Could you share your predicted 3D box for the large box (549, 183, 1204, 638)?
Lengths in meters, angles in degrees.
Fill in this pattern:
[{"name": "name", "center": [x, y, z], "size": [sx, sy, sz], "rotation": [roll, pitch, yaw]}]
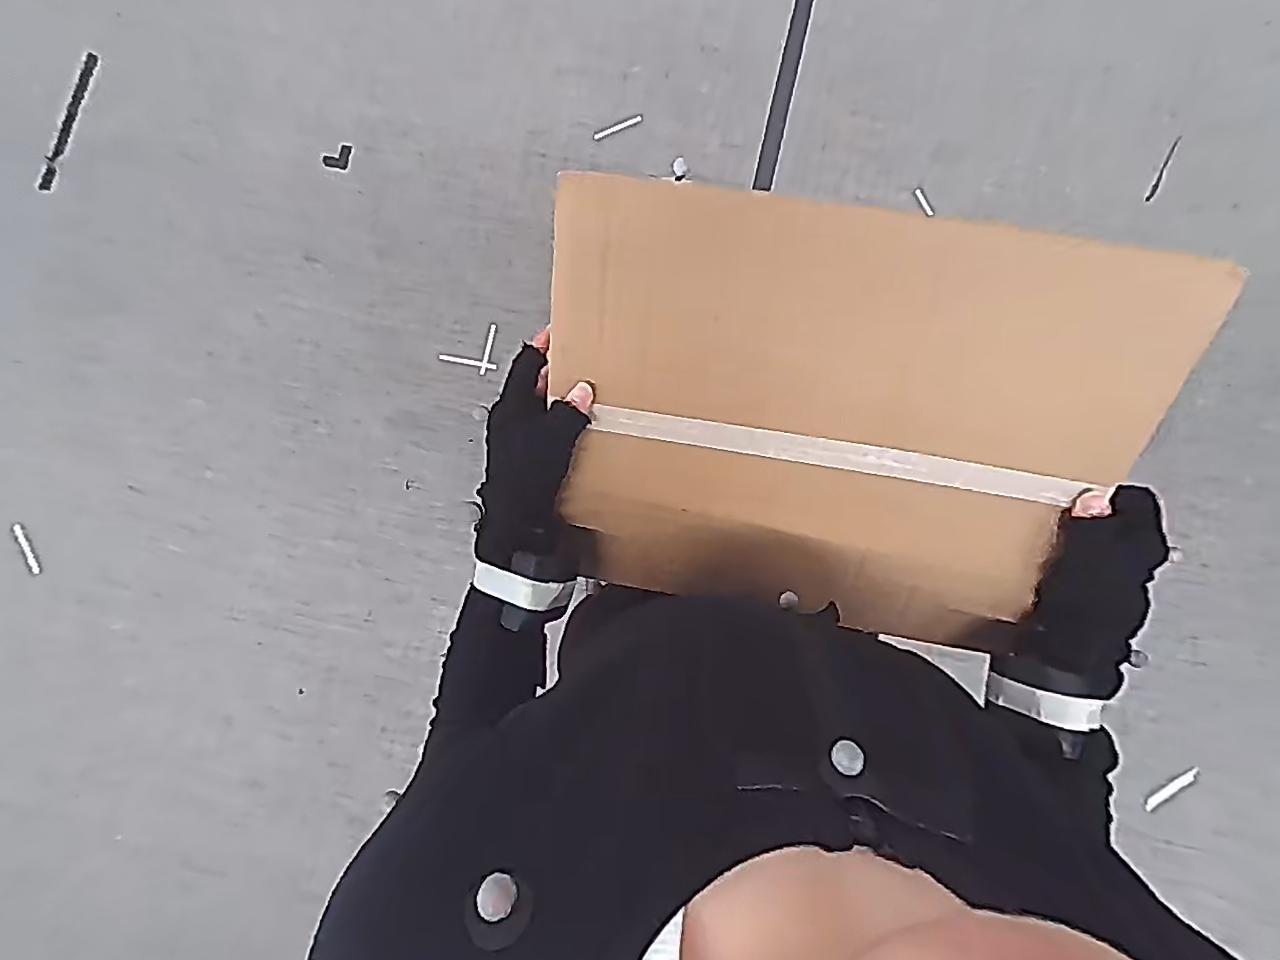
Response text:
[{"name": "large box", "center": [0.146, -0.096, 0.537], "size": [0.408, 0.320, 0.320], "rotation": [10, 120, 4]}]
